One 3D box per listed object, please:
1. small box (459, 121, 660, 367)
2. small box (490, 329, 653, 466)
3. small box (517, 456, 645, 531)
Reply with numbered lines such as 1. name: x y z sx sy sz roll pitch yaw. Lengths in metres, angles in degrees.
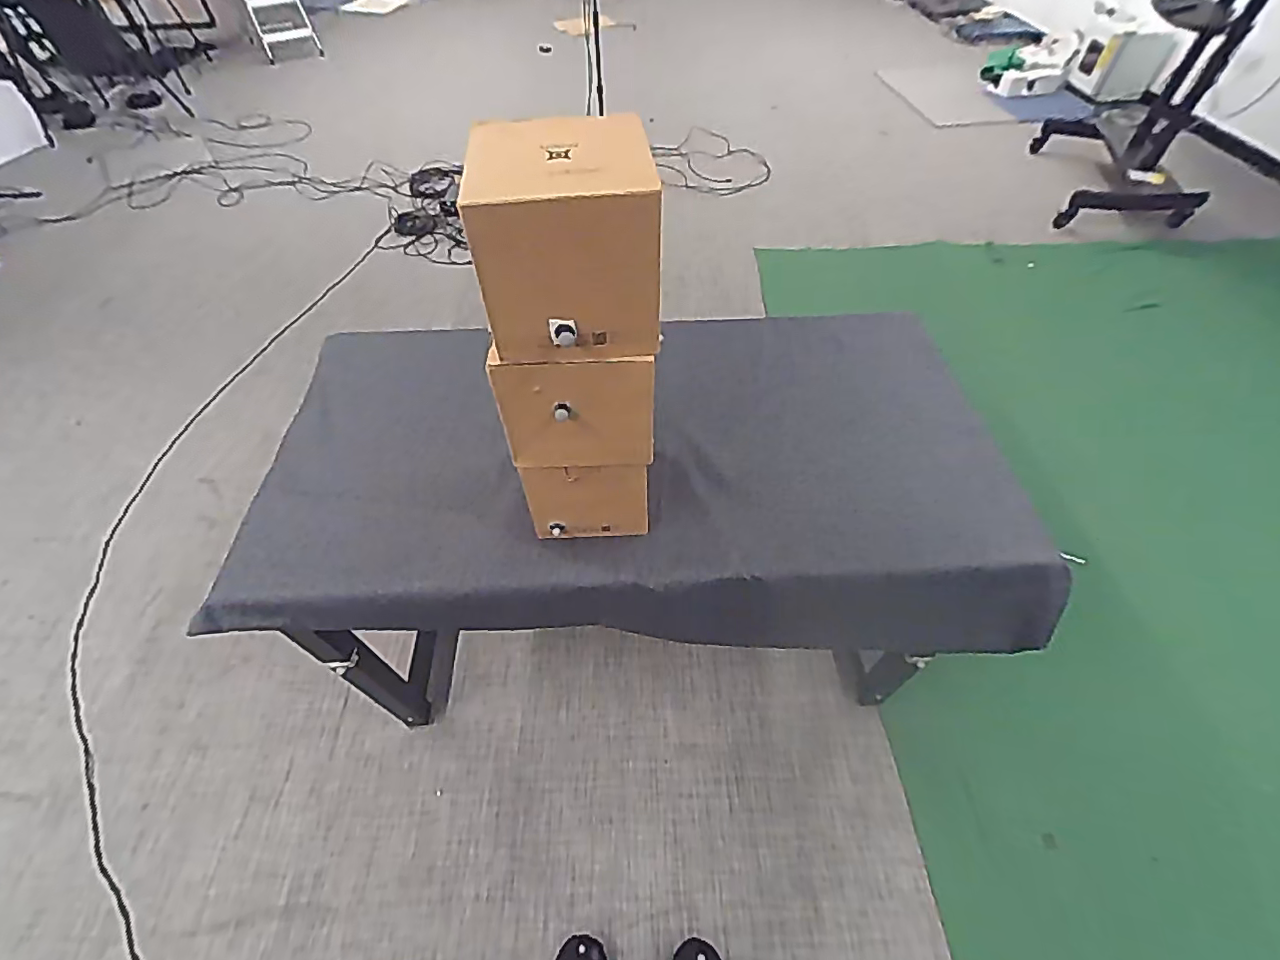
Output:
1. small box: -0.074 -0.239 0.554 0.168 0.176 0.179 -7 52 -3
2. small box: -0.076 -0.131 0.679 0.179 0.176 0.168 -3 49 -3
3. small box: -0.078 -0.034 0.808 0.168 0.176 0.179 -2 50 -1
